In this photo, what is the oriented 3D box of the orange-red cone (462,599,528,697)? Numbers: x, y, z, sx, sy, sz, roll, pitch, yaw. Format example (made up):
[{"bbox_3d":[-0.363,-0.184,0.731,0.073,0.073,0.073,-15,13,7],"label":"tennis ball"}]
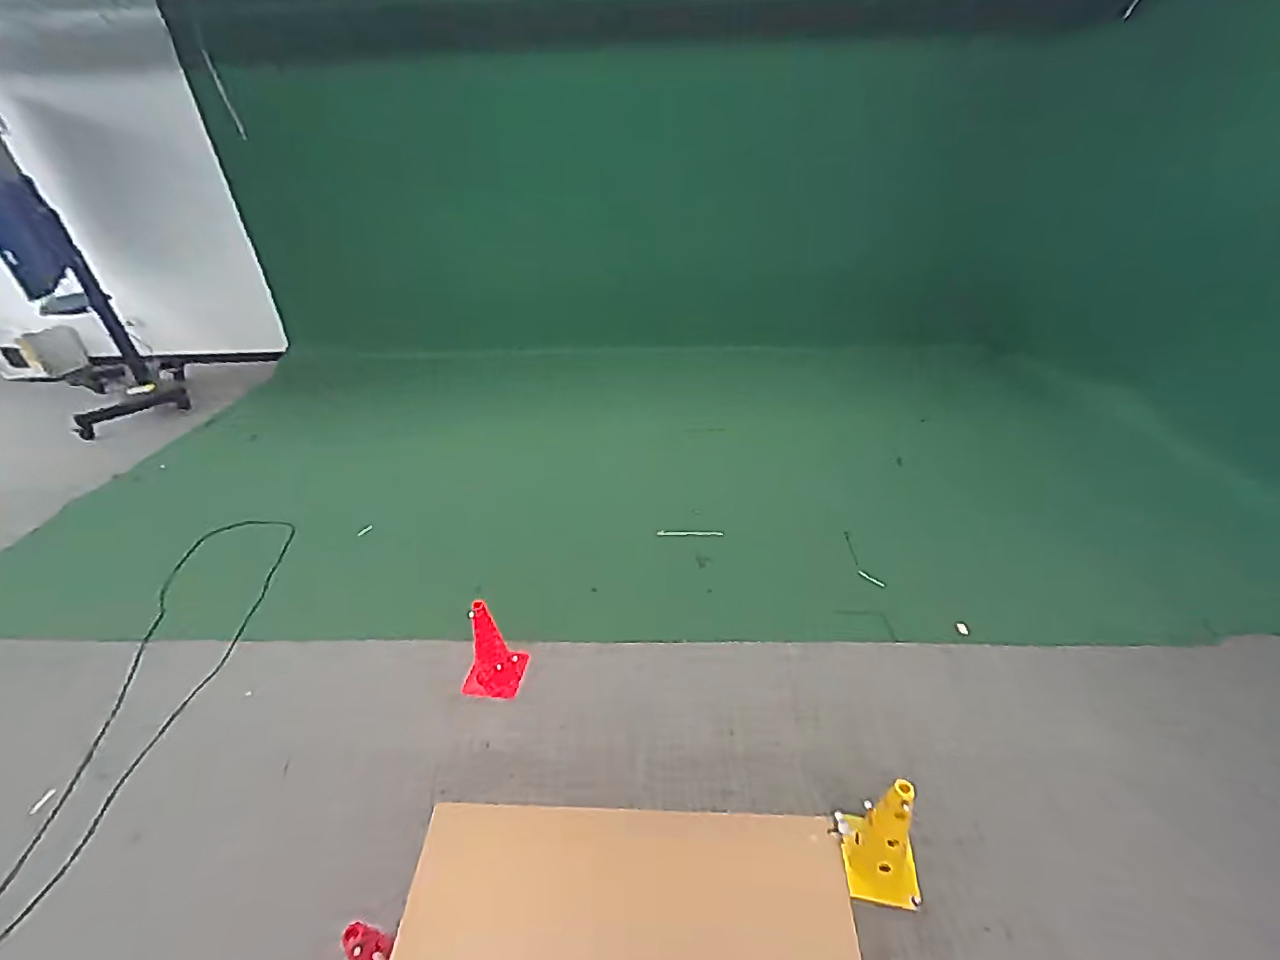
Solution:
[{"bbox_3d":[-0.533,0.554,1.873,0.199,0.360,0.198,3,33,10],"label":"orange-red cone"}]

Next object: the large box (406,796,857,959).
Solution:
[{"bbox_3d":[-0.007,0.546,0.555,0.408,0.320,0.320,0,45,3],"label":"large box"}]
